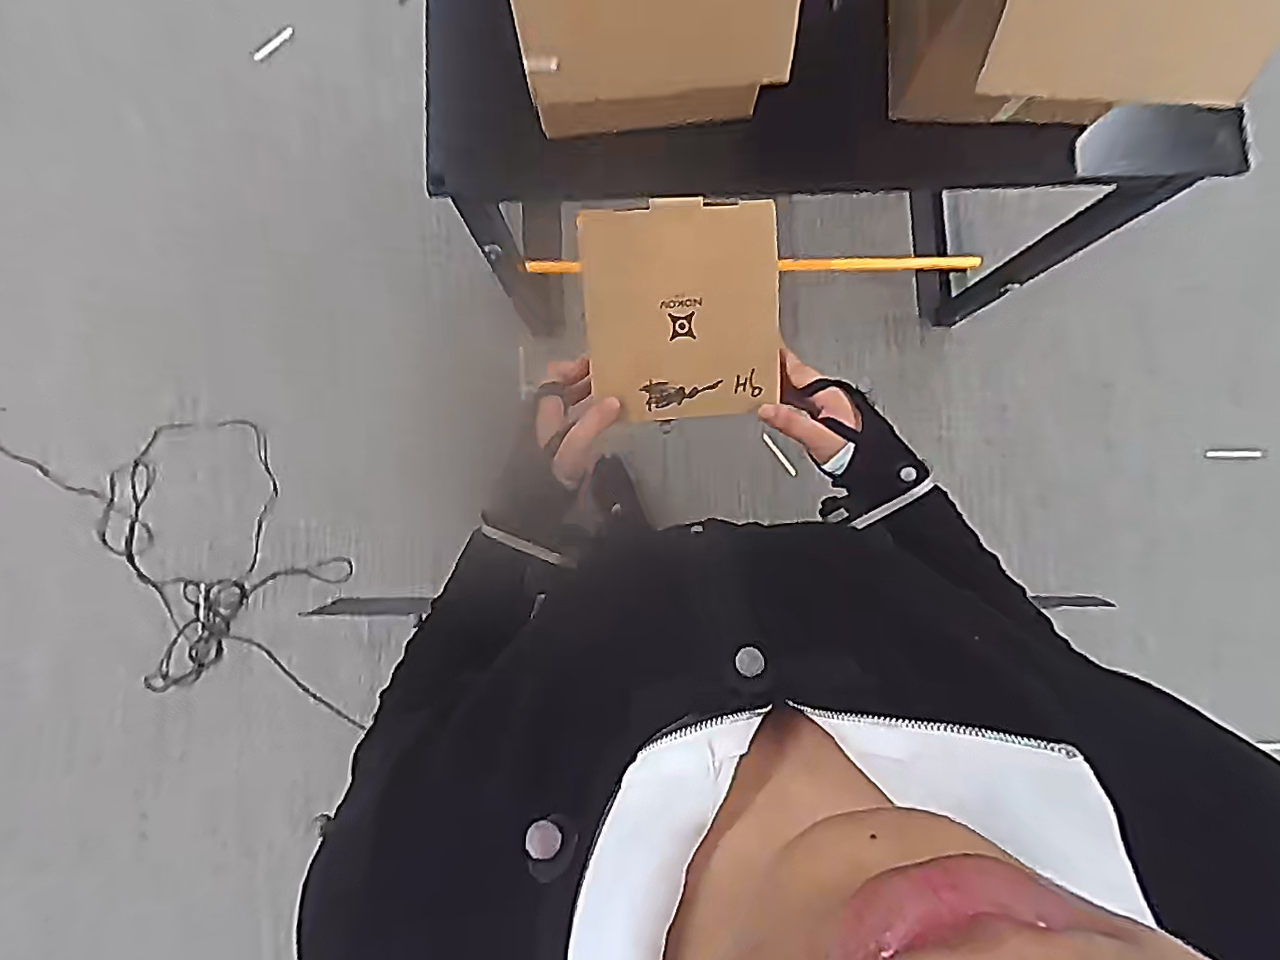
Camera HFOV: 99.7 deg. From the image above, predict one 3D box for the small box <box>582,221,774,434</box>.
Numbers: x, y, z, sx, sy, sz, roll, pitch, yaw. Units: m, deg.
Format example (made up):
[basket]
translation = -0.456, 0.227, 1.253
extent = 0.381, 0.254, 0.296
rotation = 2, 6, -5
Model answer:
[small box]
translation = 0.030, -0.144, 0.551
extent = 0.168, 0.176, 0.179
rotation = -5, 100, -3
